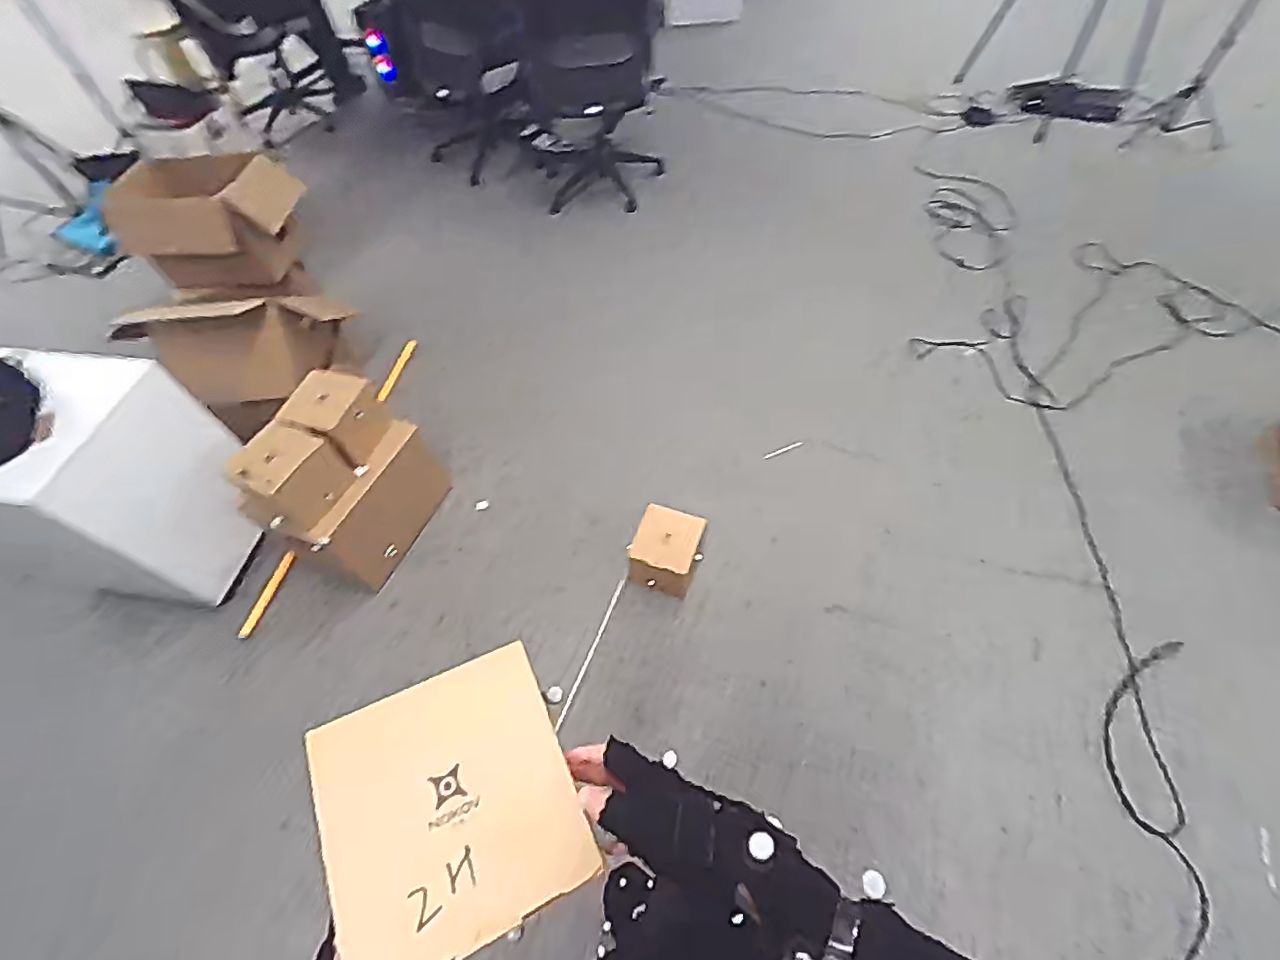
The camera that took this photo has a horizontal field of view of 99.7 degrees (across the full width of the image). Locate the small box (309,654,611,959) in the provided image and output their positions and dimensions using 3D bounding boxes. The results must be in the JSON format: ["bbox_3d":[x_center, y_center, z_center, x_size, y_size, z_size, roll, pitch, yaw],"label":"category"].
[{"bbox_3d":[-0.134,0.274,0.435,0.168,0.176,0.179,-20,61,-17],"label":"small box"}]

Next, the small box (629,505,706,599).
[{"bbox_3d":[0.076,0.202,1.500,0.168,0.176,0.179,16,59,13],"label":"small box"}]
